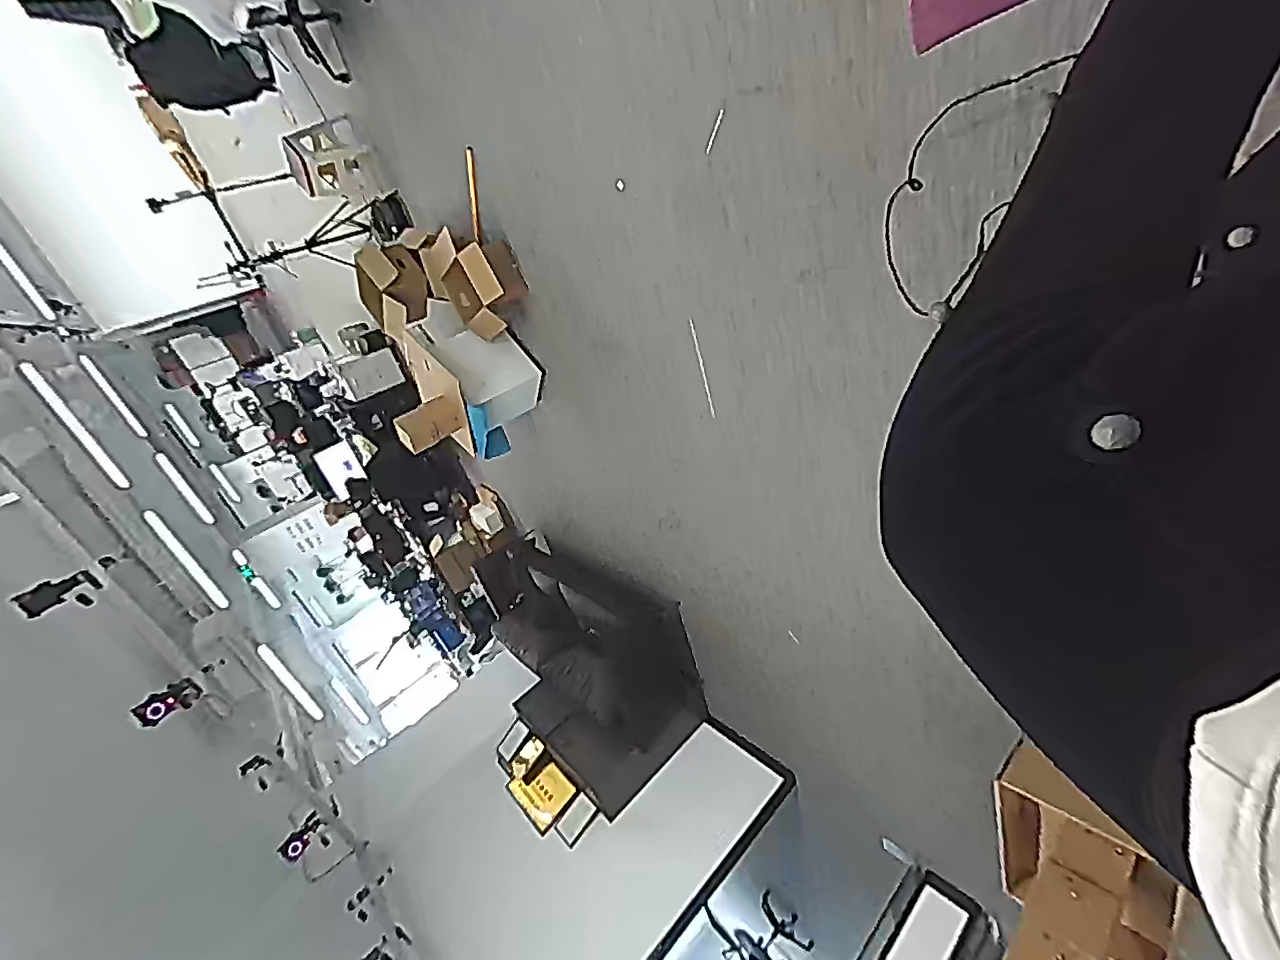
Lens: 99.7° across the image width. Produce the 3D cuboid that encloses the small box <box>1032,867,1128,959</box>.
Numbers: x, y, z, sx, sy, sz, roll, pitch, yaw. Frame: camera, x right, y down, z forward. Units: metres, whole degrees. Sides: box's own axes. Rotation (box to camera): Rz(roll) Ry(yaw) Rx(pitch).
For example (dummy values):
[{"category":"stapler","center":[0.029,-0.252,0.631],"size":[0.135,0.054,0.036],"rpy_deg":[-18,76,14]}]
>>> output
[{"category":"small box","center":[1.170,1.197,1.441],"size":[0.168,0.176,0.179],"rpy_deg":[12,130,50]}]

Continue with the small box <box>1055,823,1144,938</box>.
[{"category":"small box","center":[1.291,1.123,1.525],"size":[0.168,0.176,0.179],"rpy_deg":[14,133,49]}]

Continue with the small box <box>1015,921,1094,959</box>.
[{"category":"small box","center":[1.057,1.283,1.363],"size":[0.168,0.176,0.179],"rpy_deg":[13,130,51]}]
